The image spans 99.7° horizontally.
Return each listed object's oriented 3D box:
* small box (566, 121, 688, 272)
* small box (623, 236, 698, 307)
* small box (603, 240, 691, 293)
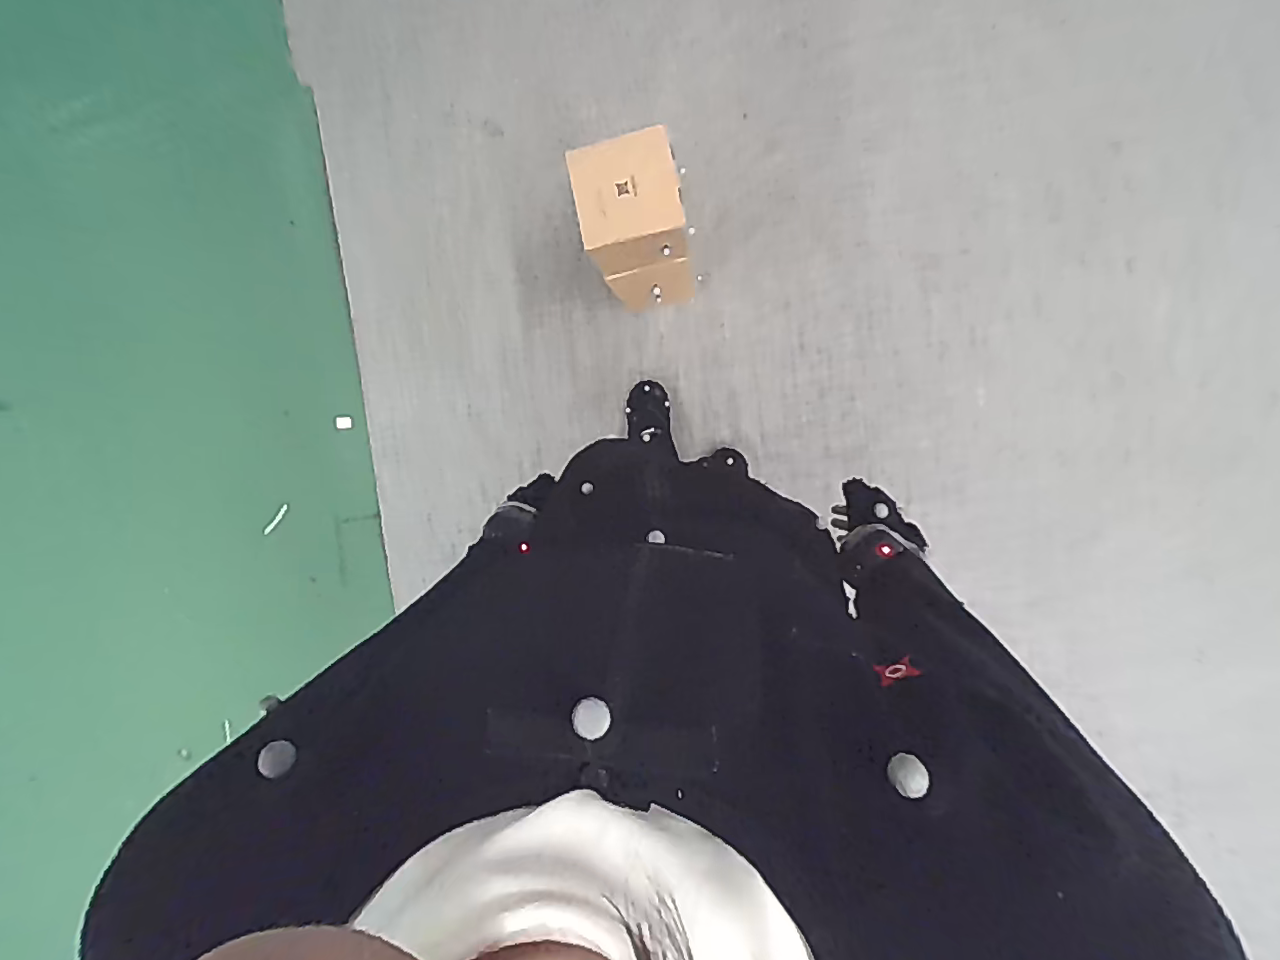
[{"bbox_3d":[-0.012,-0.494,0.969,0.179,0.176,0.168,-11,94,11],"label":"small box"},{"bbox_3d":[0.034,-0.529,1.289,0.179,0.176,0.168,-15,94,10],"label":"small box"},{"bbox_3d":[0.010,-0.506,1.129,0.179,0.176,0.168,-10,95,10],"label":"small box"}]
